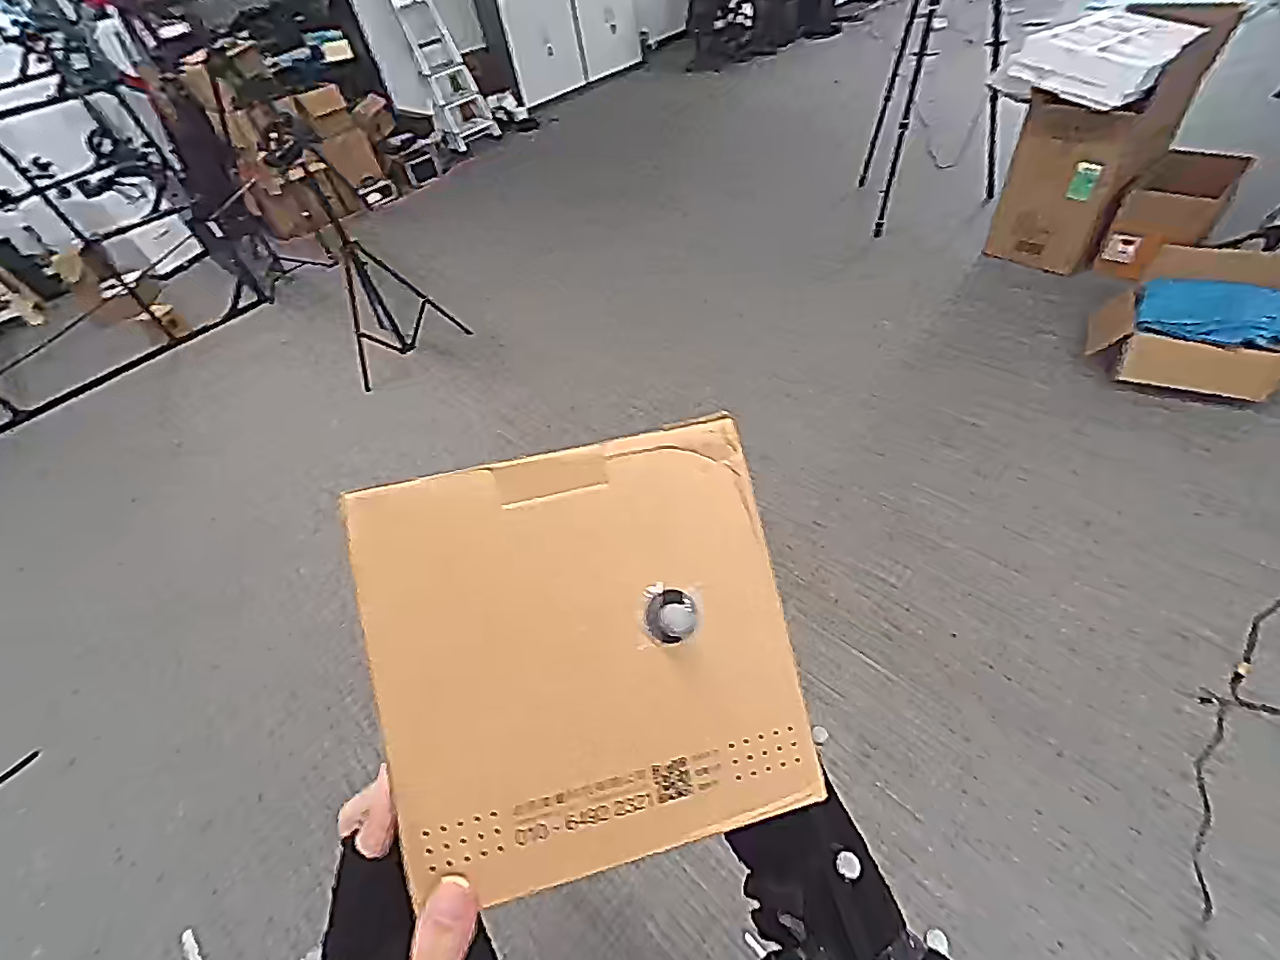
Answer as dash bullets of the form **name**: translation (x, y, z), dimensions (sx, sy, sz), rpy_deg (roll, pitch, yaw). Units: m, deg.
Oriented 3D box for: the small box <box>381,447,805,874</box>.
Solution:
- **small box**: translation (-0.025, 0.090, 0.317), dimensions (0.168, 0.179, 0.176), rpy_deg (-12, 86, -9)
